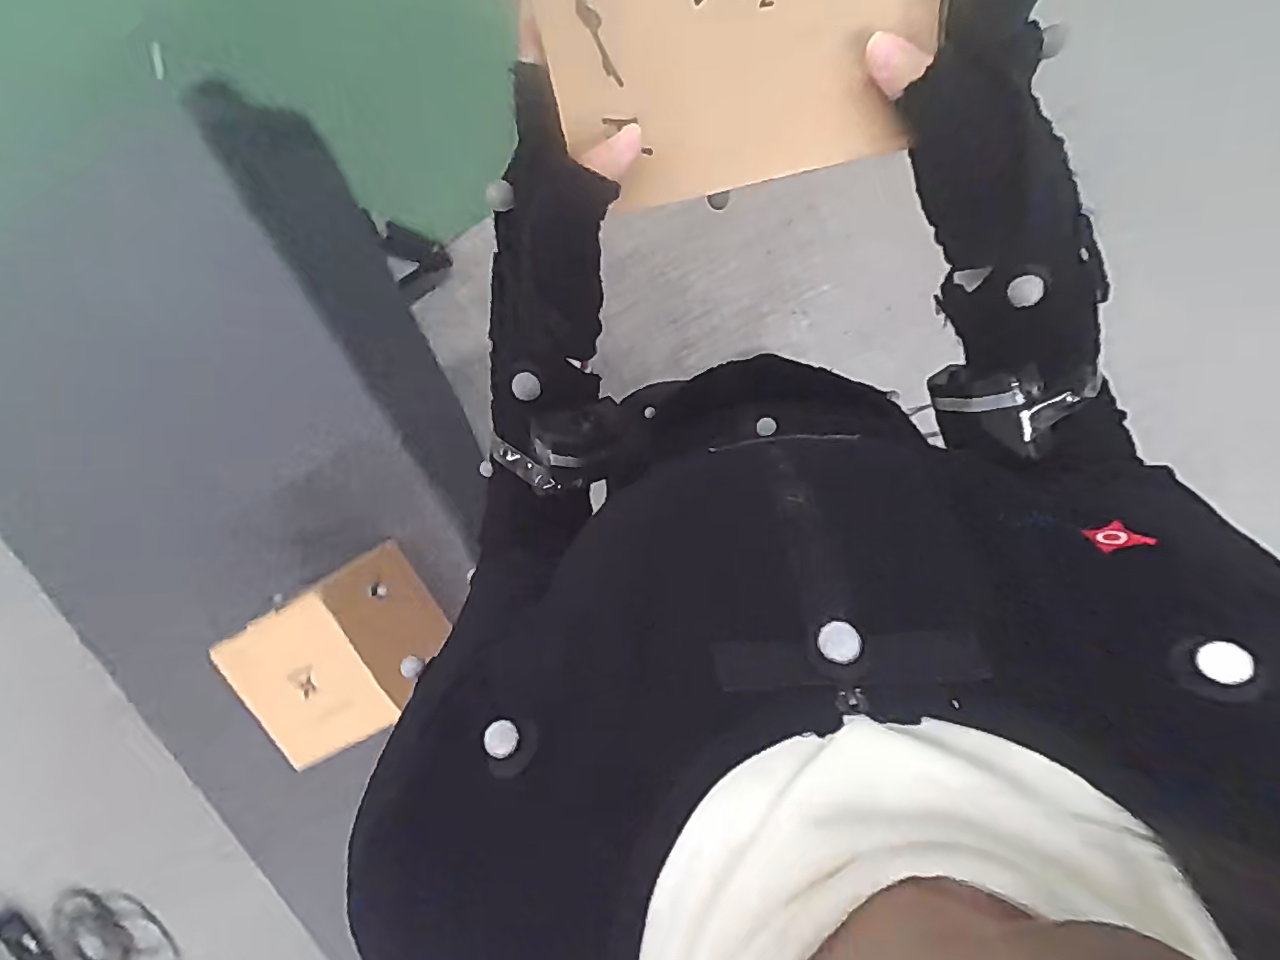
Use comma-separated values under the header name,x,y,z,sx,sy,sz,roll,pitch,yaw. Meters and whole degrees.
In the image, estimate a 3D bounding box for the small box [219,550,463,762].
name,x,y,z,sx,sy,sz,roll,pitch,yaw
small box,-0.364,0.208,0.693,0.168,0.176,0.179,-29,100,12

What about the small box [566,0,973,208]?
name,x,y,z,sx,sy,sz,roll,pitch,yaw
small box,0.050,-0.257,0.295,0.179,0.176,0.168,-10,118,3
